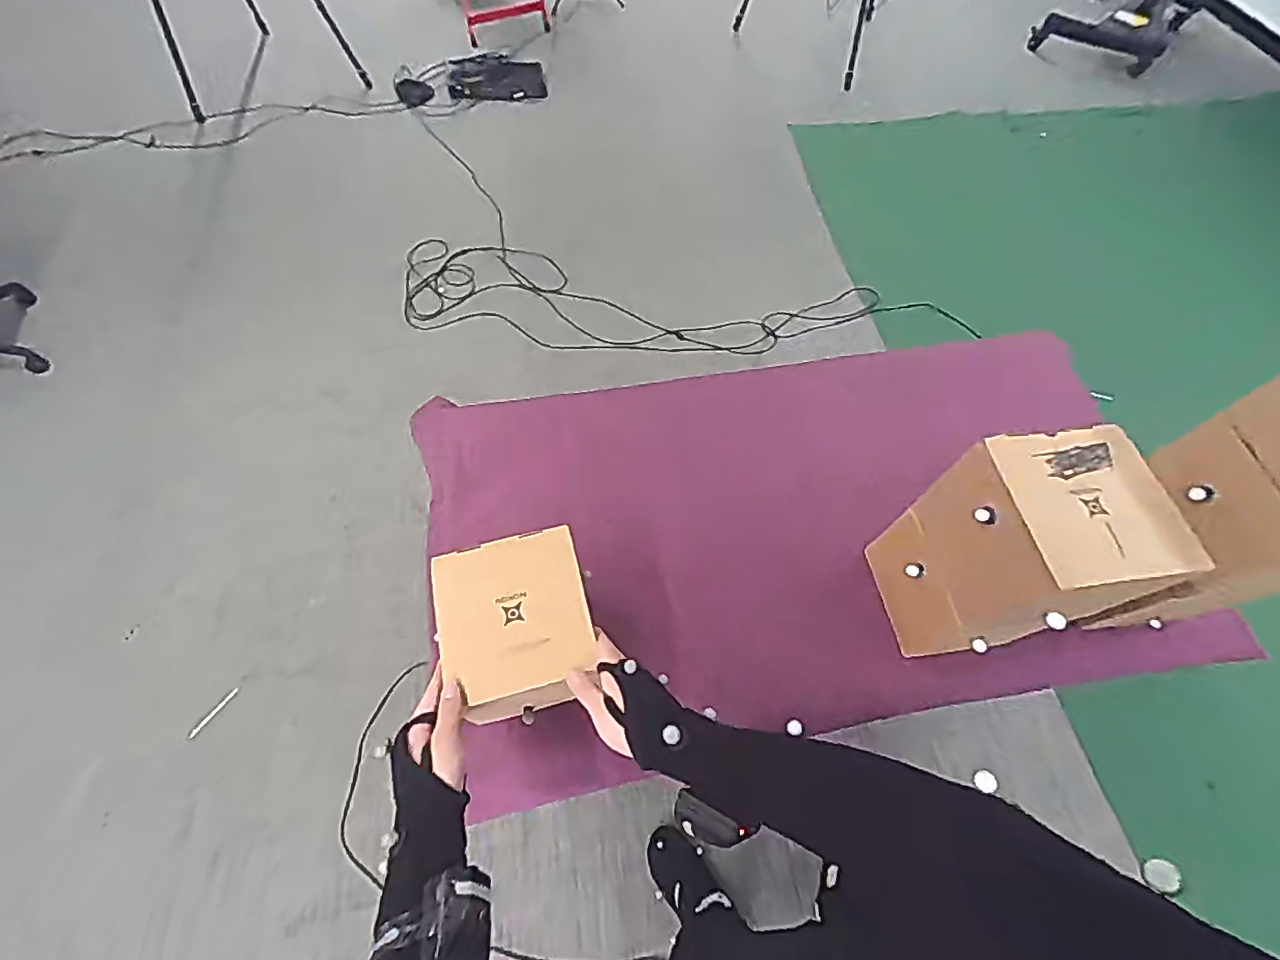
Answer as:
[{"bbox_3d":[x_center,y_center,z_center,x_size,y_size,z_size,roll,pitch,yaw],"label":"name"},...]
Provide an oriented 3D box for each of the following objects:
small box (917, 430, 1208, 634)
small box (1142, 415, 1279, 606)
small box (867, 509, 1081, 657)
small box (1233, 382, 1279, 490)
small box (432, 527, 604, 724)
[{"bbox_3d":[0.459,0.064,0.627,0.168,0.176,0.179,-6,61,-4],"label":"small box"},{"bbox_3d":[0.739,0.036,0.645,0.168,0.176,0.179,-5,61,-3],"label":"small box"},{"bbox_3d":[0.455,0.146,0.770,0.168,0.176,0.179,-6,61,-5],"label":"small box"},{"bbox_3d":[0.742,-0.045,0.501,0.168,0.176,0.179,-4,62,-2],"label":"small box"},{"bbox_3d":[-0.143,0.184,0.667,0.168,0.176,0.179,-13,63,-9],"label":"small box"}]
